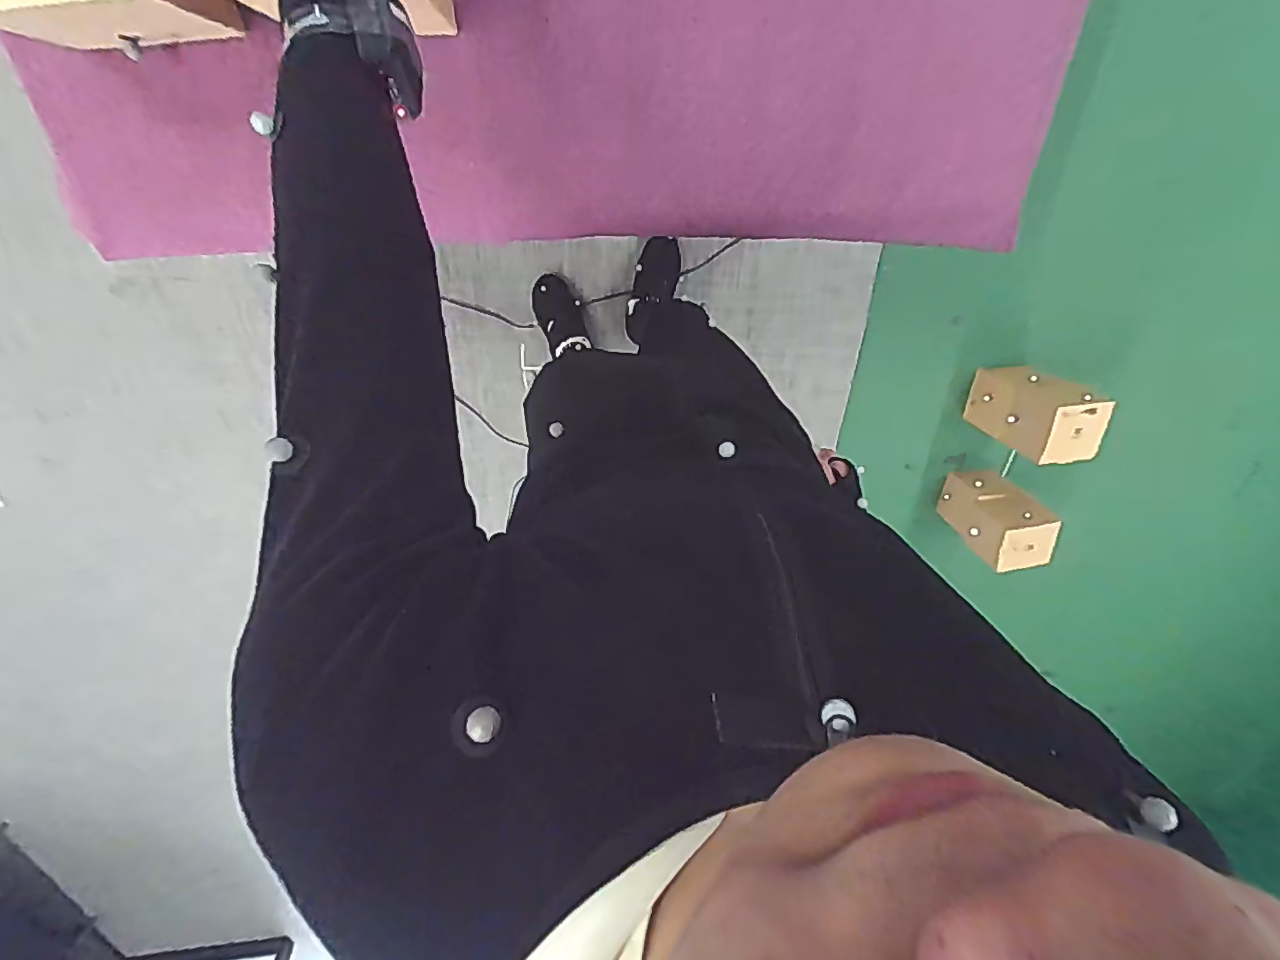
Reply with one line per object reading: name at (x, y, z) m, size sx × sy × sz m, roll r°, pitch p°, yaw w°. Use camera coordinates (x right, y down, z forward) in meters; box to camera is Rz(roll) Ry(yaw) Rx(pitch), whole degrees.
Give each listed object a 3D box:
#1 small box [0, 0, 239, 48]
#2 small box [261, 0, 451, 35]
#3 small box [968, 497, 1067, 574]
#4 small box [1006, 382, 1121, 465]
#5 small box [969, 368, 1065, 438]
small box at (-0.507, -0.506, 0.469) m, size 0.168 × 0.176 × 0.179 m, roll -7°, pitch 121°, yaw -2°
small box at (-0.280, -0.528, 0.483) m, size 0.168 × 0.176 × 0.179 m, roll -3°, pitch 121°, yaw -4°
small box at (1.185, 0.169, 1.711) m, size 0.179 × 0.176 × 0.168 m, roll -10°, pitch 120°, yaw 0°
small box at (1.177, -0.161, 1.520) m, size 0.168 × 0.176 × 0.179 m, roll -6°, pitch 121°, yaw -4°
small box at (1.159, -0.239, 1.664) m, size 0.179 × 0.176 × 0.168 m, roll -4°, pitch 120°, yaw -5°
